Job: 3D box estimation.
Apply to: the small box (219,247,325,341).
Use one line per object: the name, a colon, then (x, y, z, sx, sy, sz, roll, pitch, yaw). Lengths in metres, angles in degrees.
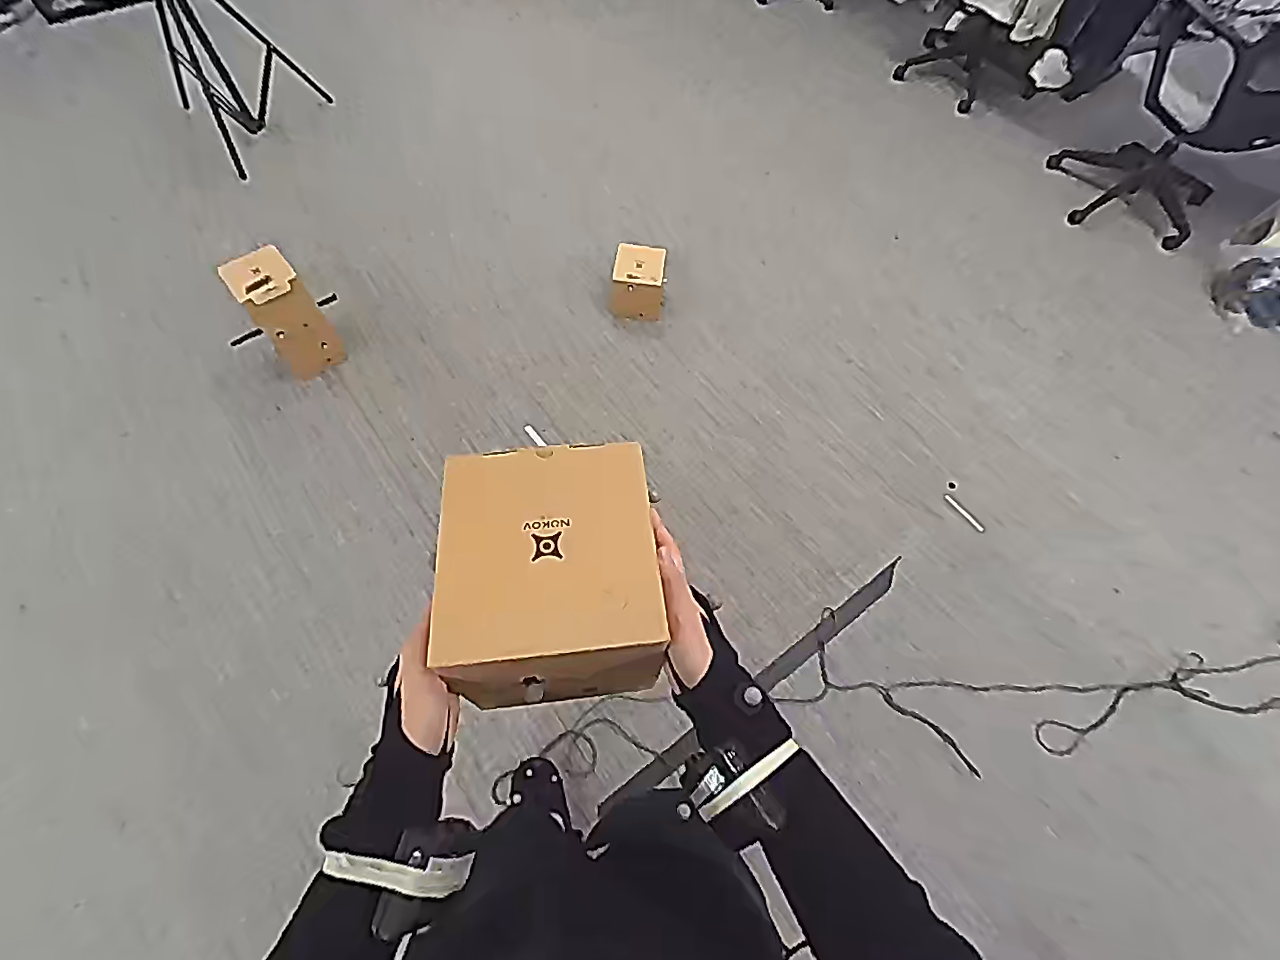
small box: (-1.063, -0.531, 1.576, 0.168, 0.176, 0.179, -37, 69, -19)

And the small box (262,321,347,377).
small box: (-1.074, -0.453, 1.721, 0.168, 0.176, 0.179, -37, 69, -20)

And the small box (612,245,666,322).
small box: (-0.006, -0.679, 1.878, 0.168, 0.176, 0.179, 7, 63, 1)

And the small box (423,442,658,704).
small box: (-0.077, 0.090, 0.479, 0.168, 0.176, 0.179, -5, 57, -6)
